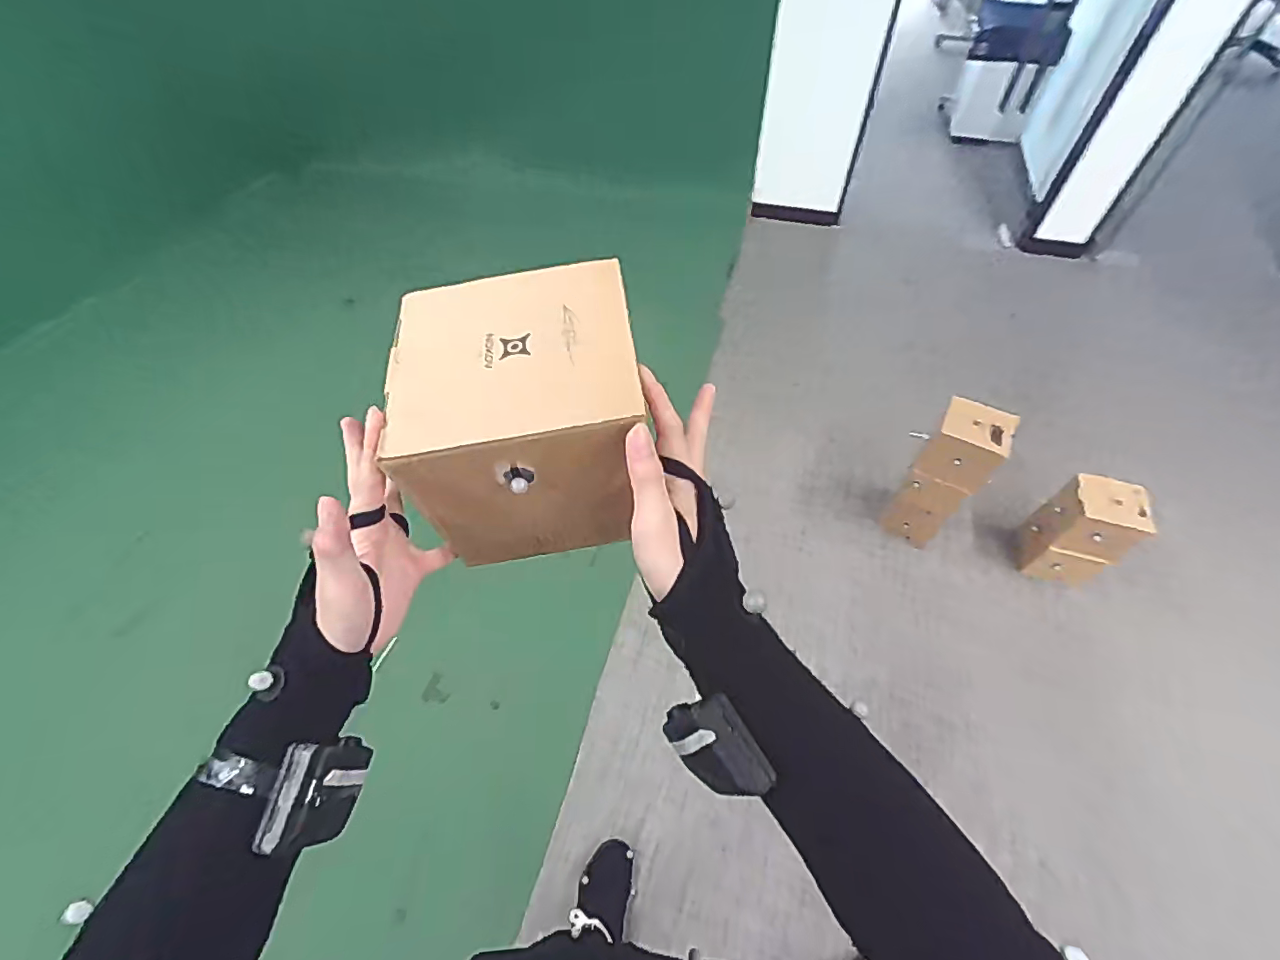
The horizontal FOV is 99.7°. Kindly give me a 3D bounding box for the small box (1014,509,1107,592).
[{"bbox_3d":[1.302,0.225,1.686,0.168,0.176,0.179,16,56,11],"label":"small box"}]

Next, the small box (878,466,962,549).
[{"bbox_3d":[0.909,0.094,1.774,0.168,0.176,0.179,34,61,21],"label":"small box"}]

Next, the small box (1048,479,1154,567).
[{"bbox_3d":[1.308,0.128,1.553,0.179,0.176,0.168,17,57,12],"label":"small box"}]

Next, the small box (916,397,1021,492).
[{"bbox_3d":[0.909,-0.092,1.505,0.179,0.176,0.168,28,59,19],"label":"small box"}]

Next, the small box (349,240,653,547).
[{"bbox_3d":[-0.089,-0.058,0.432,0.179,0.176,0.168,-7,58,2],"label":"small box"}]
